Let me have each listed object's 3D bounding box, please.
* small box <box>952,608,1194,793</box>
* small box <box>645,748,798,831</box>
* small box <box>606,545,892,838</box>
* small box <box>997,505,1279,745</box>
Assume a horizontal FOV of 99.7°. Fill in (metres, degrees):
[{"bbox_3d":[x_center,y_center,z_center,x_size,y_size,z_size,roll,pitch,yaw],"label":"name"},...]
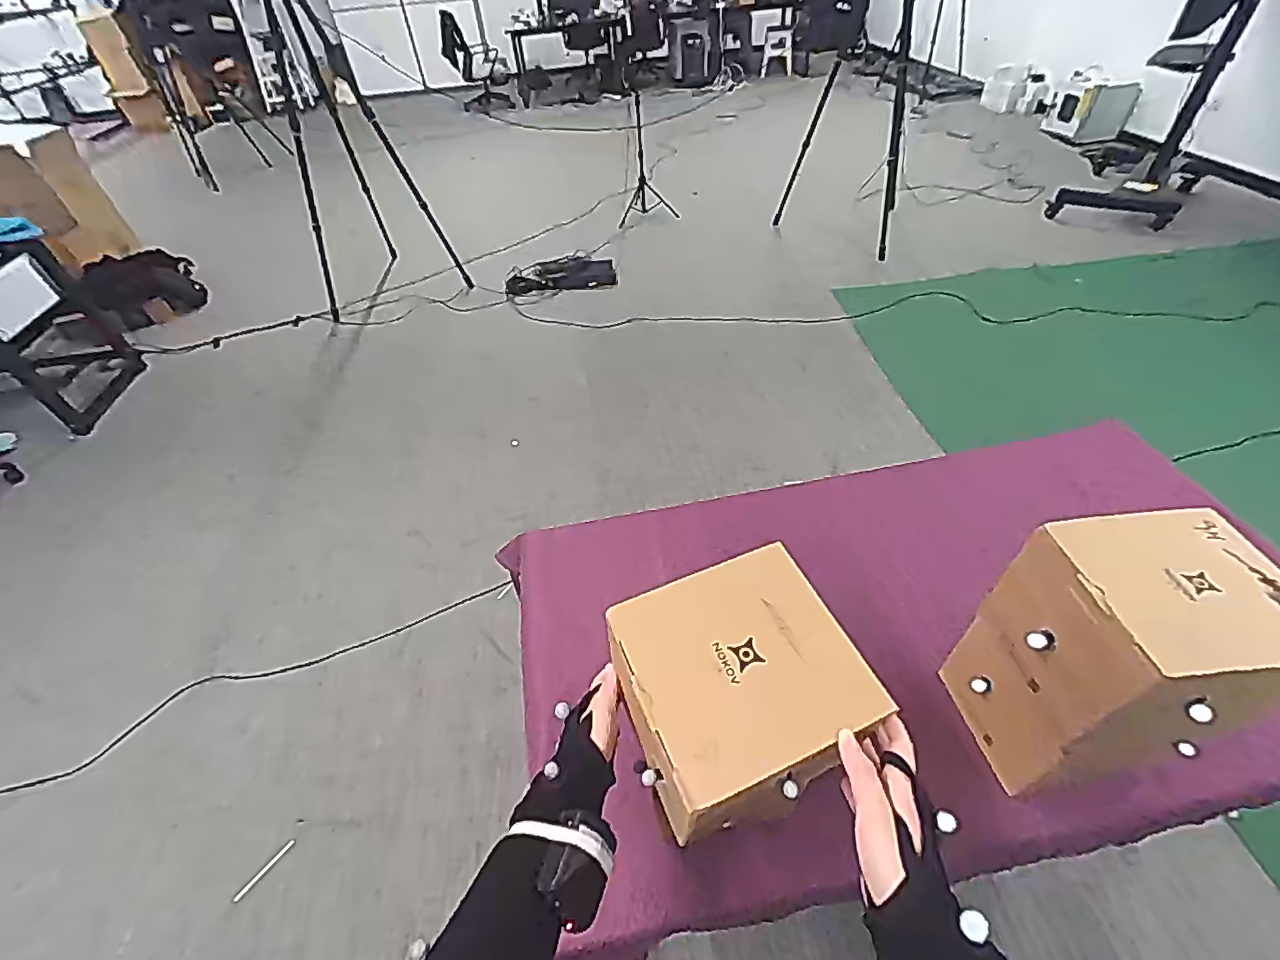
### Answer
[{"bbox_3d":[0.514,0.259,0.658,0.179,0.176,0.168,-9,46,-3],"label":"small box"},{"bbox_3d":[0.089,0.306,0.656,0.168,0.176,0.179,-8,46,-2],"label":"small box"},{"bbox_3d":[0.083,0.193,0.489,0.179,0.176,0.168,-18,52,-13],"label":"small box"},{"bbox_3d":[0.495,0.147,0.538,0.179,0.176,0.168,-6,46,1],"label":"small box"}]
